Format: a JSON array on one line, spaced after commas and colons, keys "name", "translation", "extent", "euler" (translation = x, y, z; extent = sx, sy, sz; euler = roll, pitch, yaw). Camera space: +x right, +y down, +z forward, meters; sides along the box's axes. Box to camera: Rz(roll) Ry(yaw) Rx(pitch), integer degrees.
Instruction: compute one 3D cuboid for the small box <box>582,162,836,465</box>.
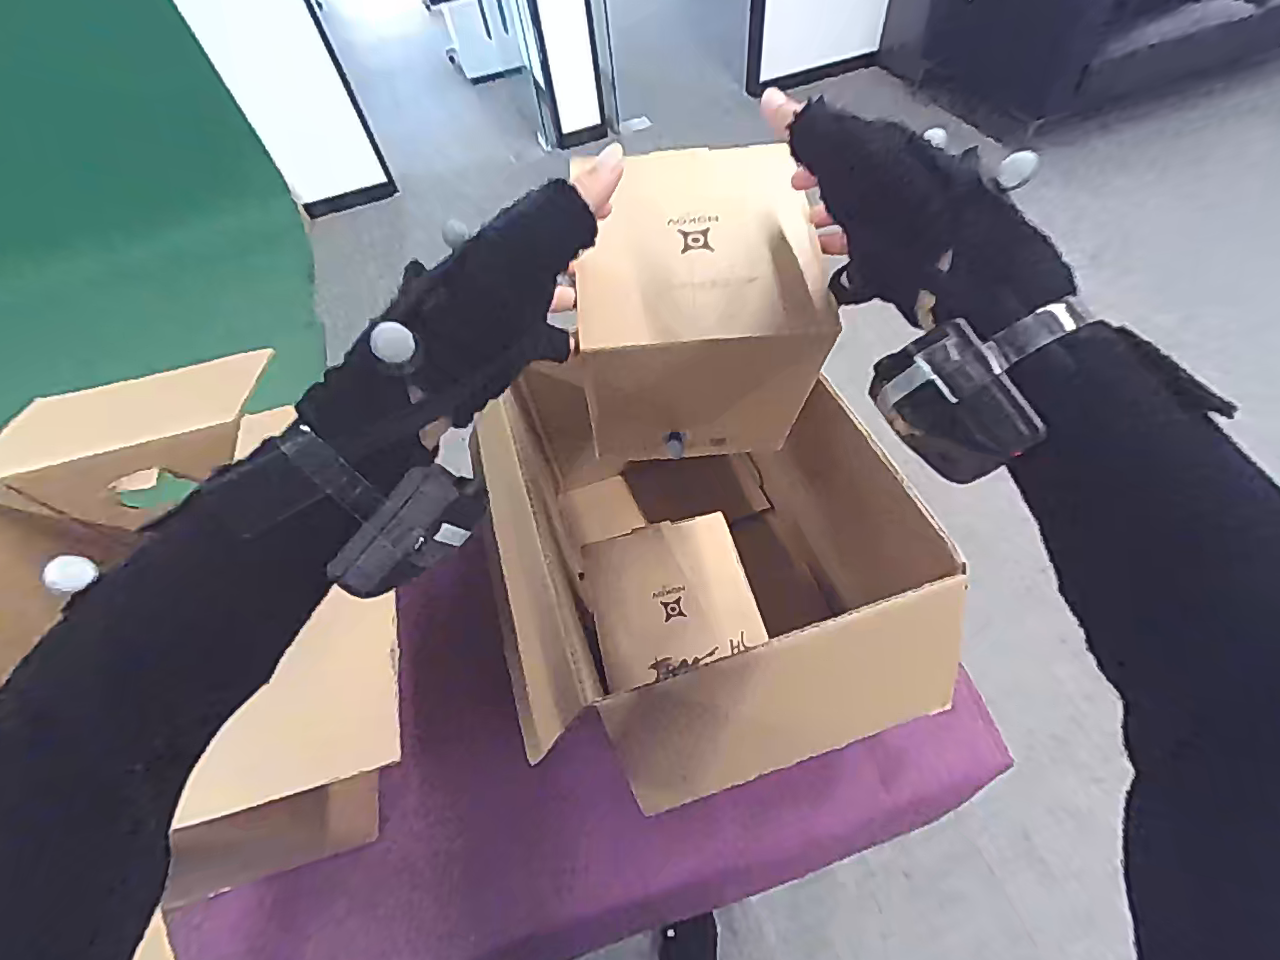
[{"name": "small box", "translation": [0.041, -0.130, 0.456], "extent": [0.168, 0.176, 0.179], "euler": [-5, 66, -1]}]
